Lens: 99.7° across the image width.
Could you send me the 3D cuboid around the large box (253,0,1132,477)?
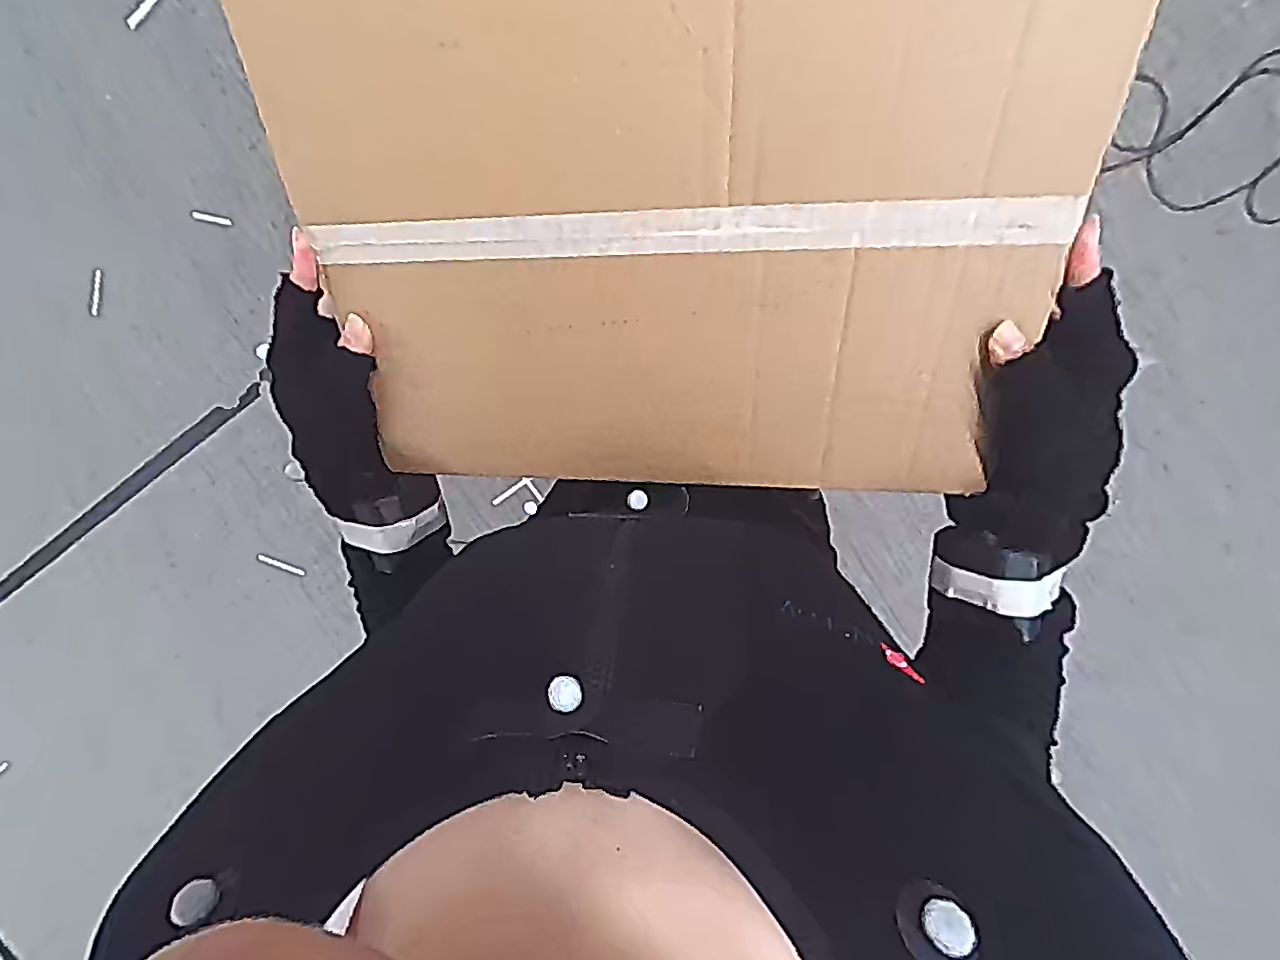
[{"bbox_3d":[0.030,-0.215,0.418,0.408,0.320,0.320,2,123,8],"label":"large box"}]
